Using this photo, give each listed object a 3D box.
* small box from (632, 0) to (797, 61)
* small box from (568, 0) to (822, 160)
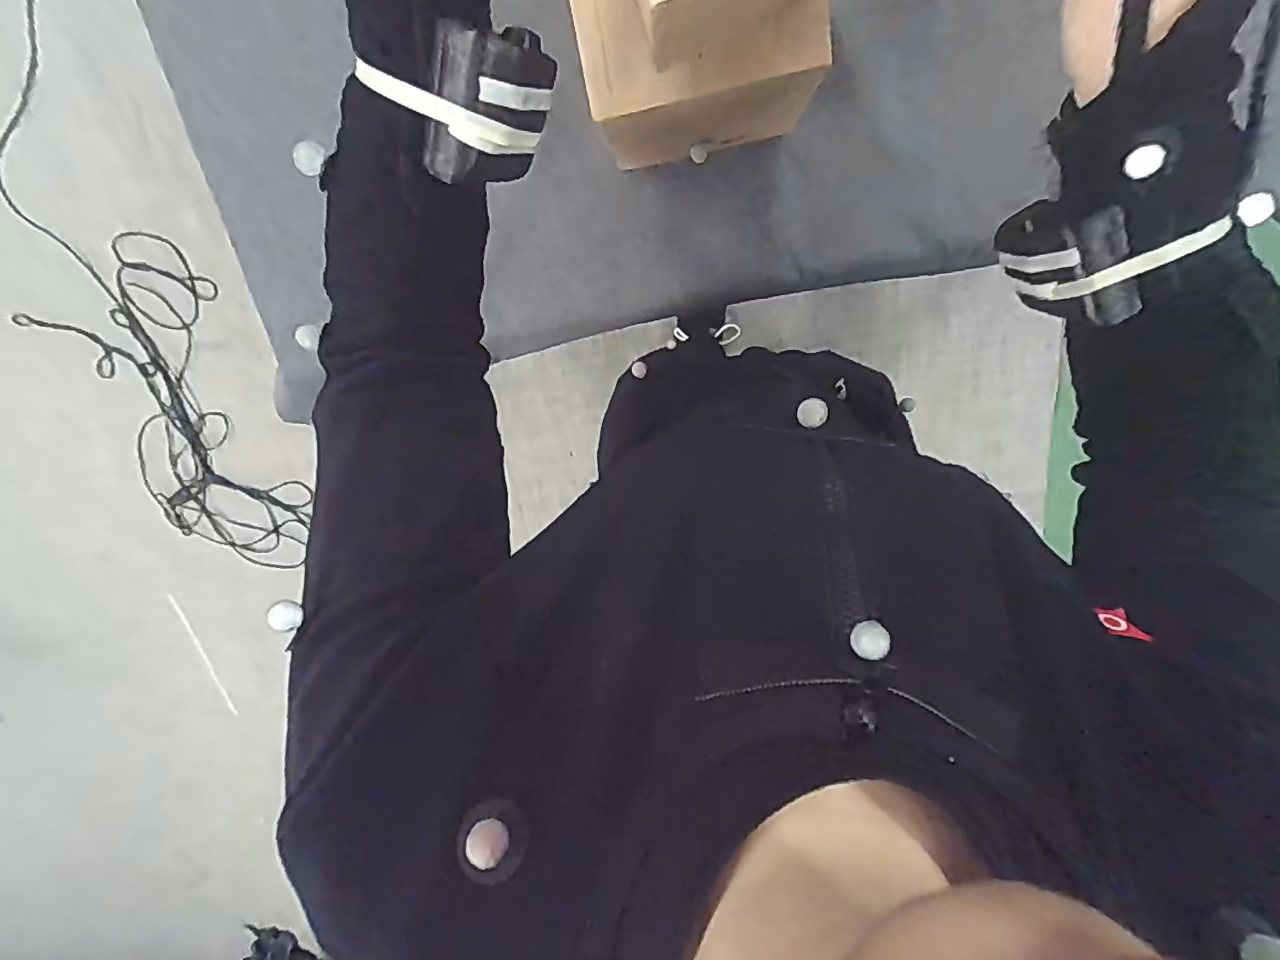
[{"bbox_3d":[0.055,-0.310,0.213,0.179,0.176,0.168,-20,116,14],"label":"small box"},{"bbox_3d":[0.034,-0.377,0.418,0.168,0.176,0.179,-8,109,8],"label":"small box"}]
